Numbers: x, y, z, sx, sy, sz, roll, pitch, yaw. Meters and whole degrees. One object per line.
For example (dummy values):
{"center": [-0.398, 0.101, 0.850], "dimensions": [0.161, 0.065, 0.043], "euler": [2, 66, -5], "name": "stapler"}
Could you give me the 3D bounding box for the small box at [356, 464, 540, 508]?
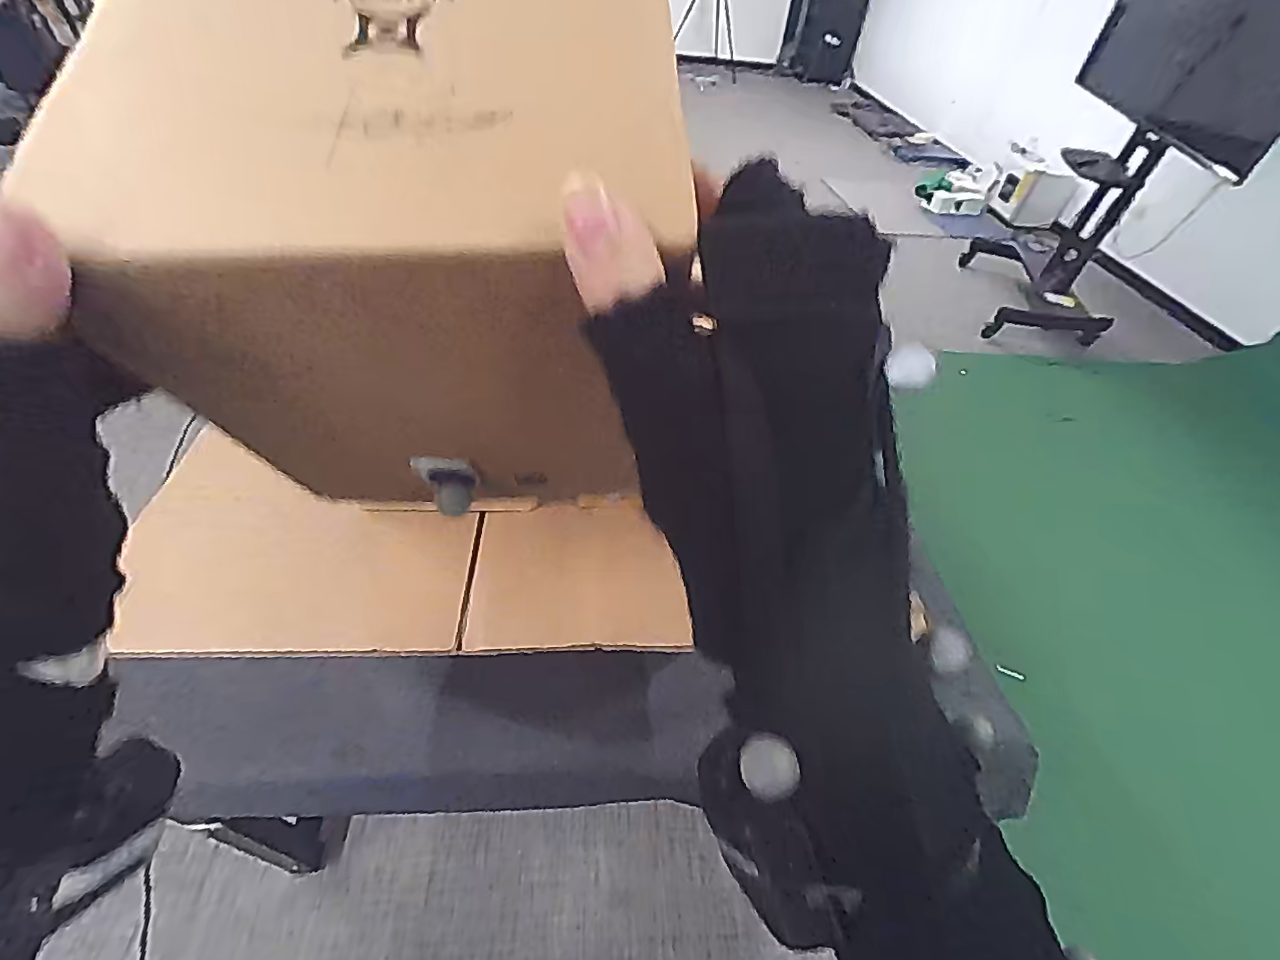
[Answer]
{"center": [-0.178, -0.094, 0.512], "dimensions": [0.168, 0.176, 0.179], "euler": [1, 46, -5], "name": "small box"}
